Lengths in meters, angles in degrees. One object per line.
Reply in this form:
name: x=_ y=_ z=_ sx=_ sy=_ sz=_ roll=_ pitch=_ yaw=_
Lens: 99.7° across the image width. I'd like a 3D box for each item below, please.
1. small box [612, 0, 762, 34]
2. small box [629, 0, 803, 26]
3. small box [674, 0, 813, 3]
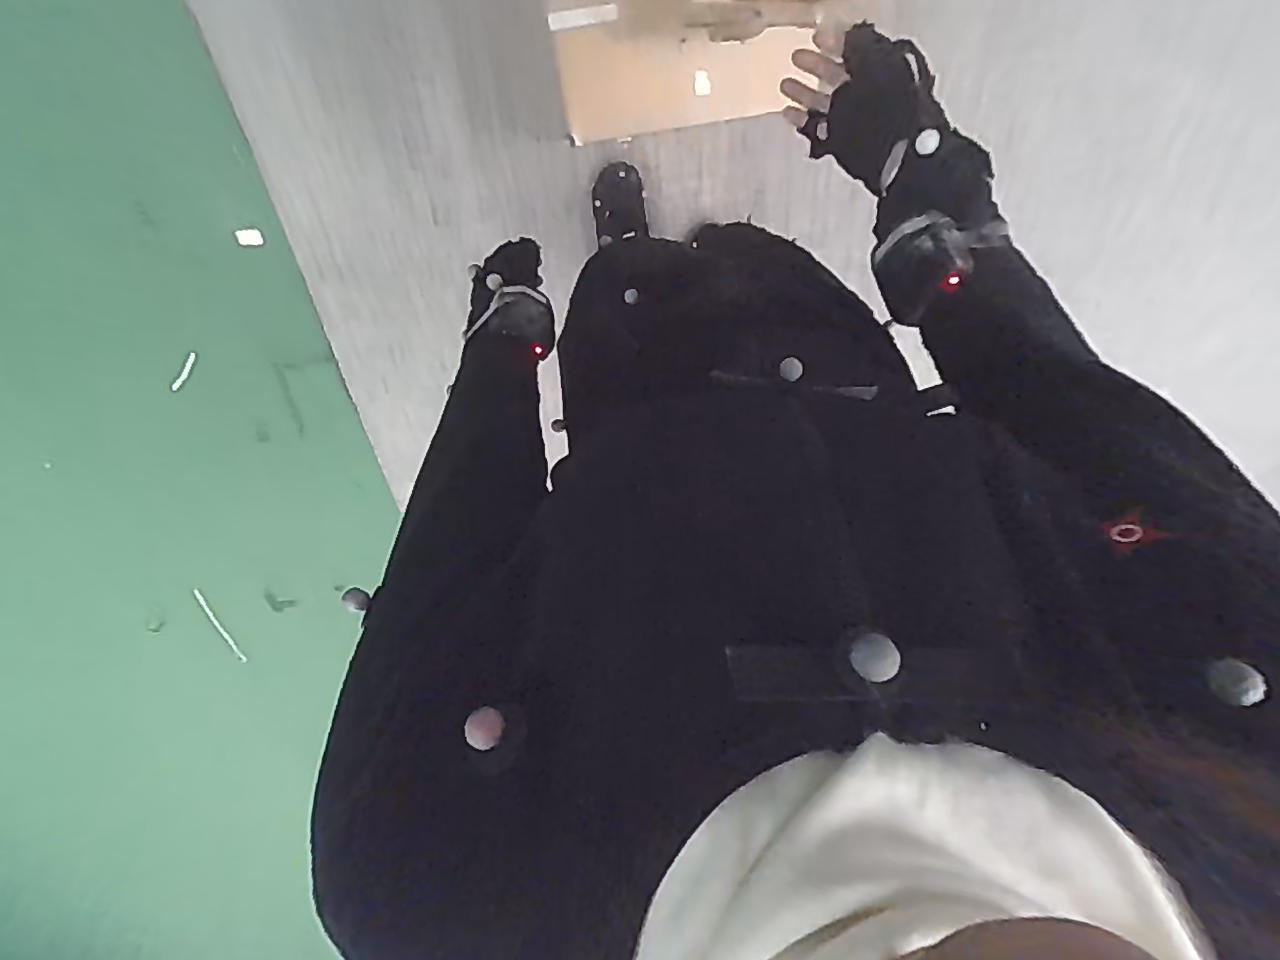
small box: x=0.058 y=-0.680 z=0.685 sx=0.179 sy=0.176 sz=0.168 roll=-4 pitch=126 yaw=-6
small box: x=0.073 y=-0.587 z=0.557 sx=0.168 sy=0.176 sz=0.179 roll=-8 pitch=127 yaw=-4
small box: x=0.102 y=-0.494 z=0.425 sx=0.168 sy=0.176 sz=0.179 roll=-6 pitch=128 yaw=-6
